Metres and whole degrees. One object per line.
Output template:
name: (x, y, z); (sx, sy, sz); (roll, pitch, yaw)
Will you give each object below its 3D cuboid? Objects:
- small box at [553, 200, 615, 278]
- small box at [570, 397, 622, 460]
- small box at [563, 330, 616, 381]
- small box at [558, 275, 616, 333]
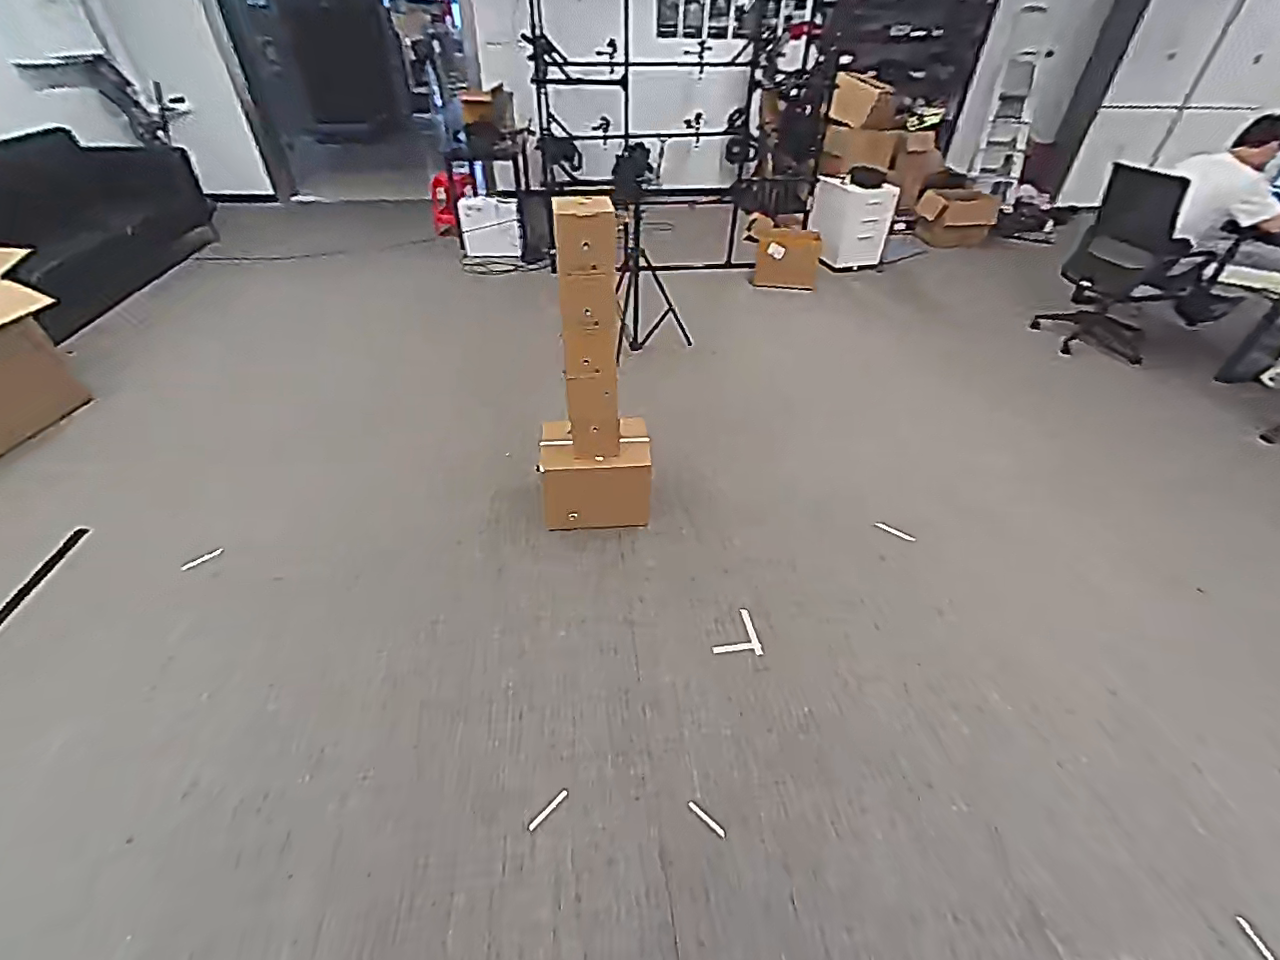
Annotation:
small box: (-0.163, -0.696, 1.568); (0.168, 0.176, 0.179); (-5, 42, -7)
small box: (-0.160, -0.185, 1.978); (0.179, 0.176, 0.168); (-3, 41, -7)
small box: (-0.166, -0.440, 1.775); (0.168, 0.176, 0.179); (-4, 41, -6)
small box: (-0.165, -0.568, 1.670); (0.168, 0.176, 0.179); (-5, 42, -6)
